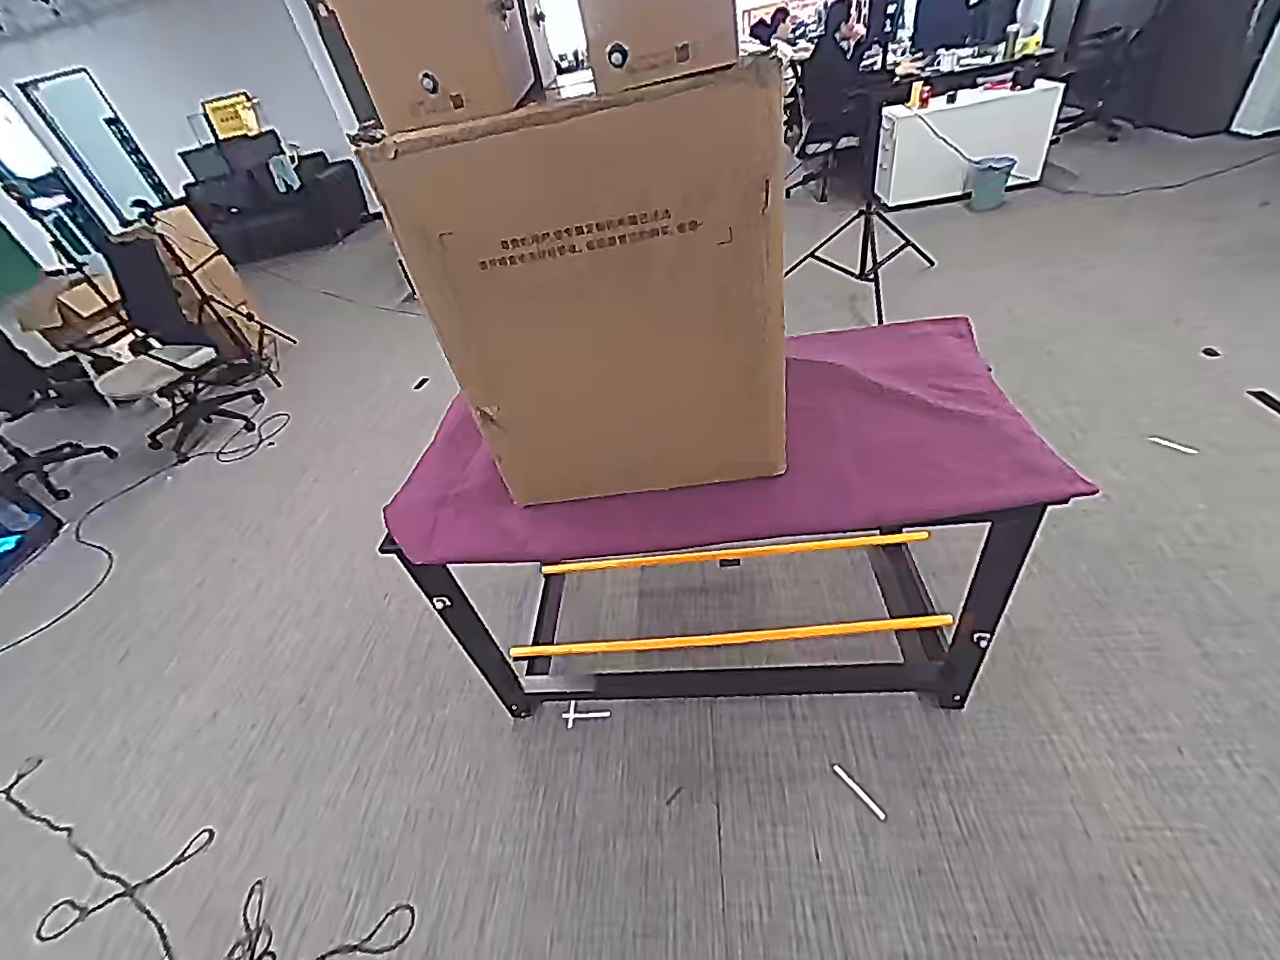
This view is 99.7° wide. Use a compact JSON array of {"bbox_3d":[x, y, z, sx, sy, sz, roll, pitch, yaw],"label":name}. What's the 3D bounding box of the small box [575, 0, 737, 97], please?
[{"bbox_3d":[0.017,-0.558,0.615,0.168,0.176,0.179,-7,42,9],"label":"small box"}]
